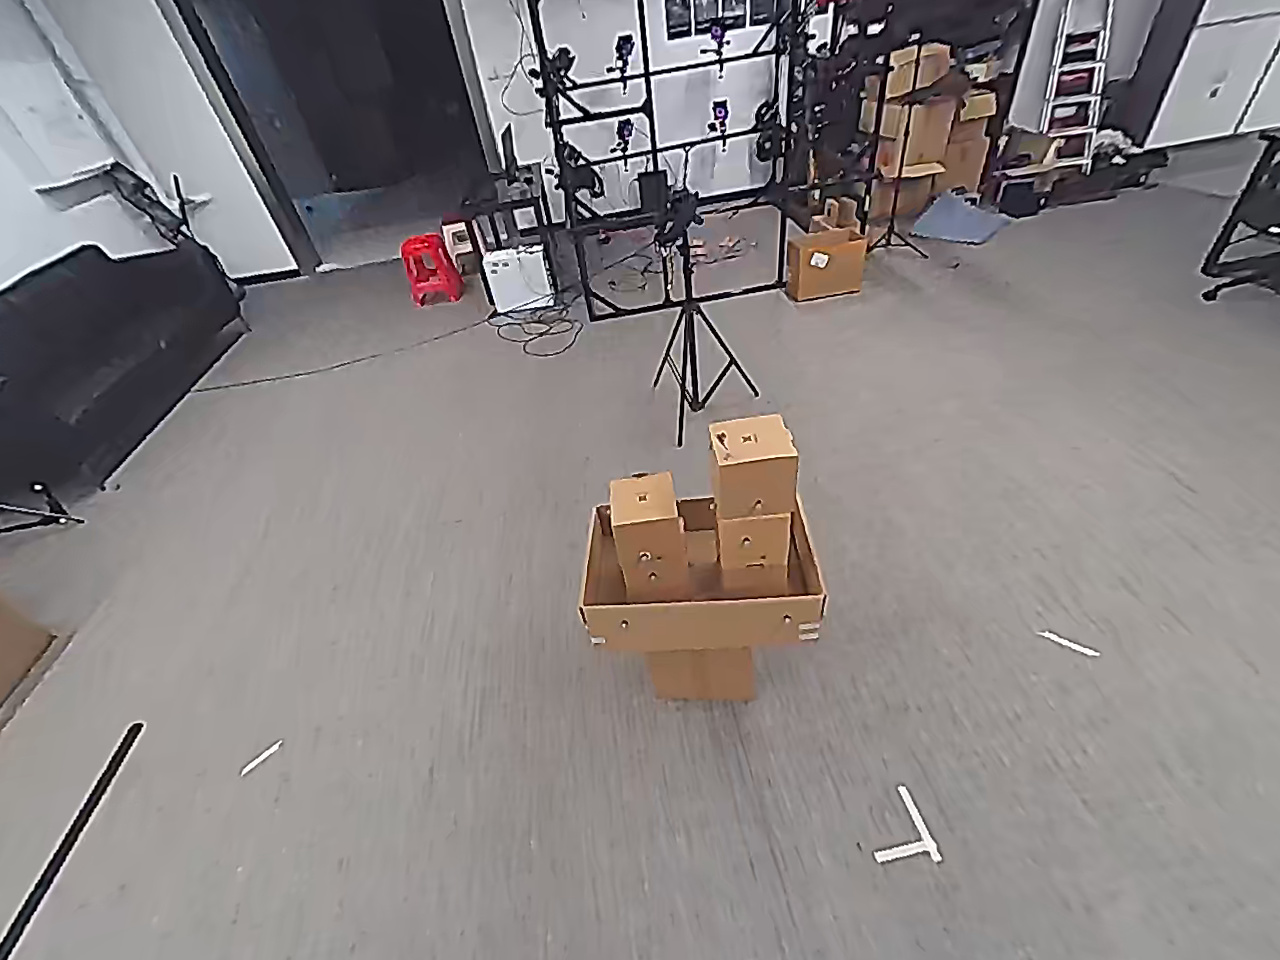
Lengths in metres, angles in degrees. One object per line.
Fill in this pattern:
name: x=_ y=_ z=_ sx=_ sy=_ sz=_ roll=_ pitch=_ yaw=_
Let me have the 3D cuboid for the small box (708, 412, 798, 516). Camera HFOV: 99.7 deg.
small box: x=0.257 y=-0.036 z=1.262 sx=0.179 sy=0.176 sz=0.168 roll=-7 pitch=39 yaw=3

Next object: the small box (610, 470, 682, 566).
small box: x=0.014 y=0.099 z=1.406 sx=0.168 sy=0.176 sz=0.179 roll=-9 pitch=40 yaw=2

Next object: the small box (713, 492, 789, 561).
small box: x=0.276 y=0.091 z=1.365 sx=0.168 sy=0.176 sz=0.179 roll=-6 pitch=40 yaw=4
